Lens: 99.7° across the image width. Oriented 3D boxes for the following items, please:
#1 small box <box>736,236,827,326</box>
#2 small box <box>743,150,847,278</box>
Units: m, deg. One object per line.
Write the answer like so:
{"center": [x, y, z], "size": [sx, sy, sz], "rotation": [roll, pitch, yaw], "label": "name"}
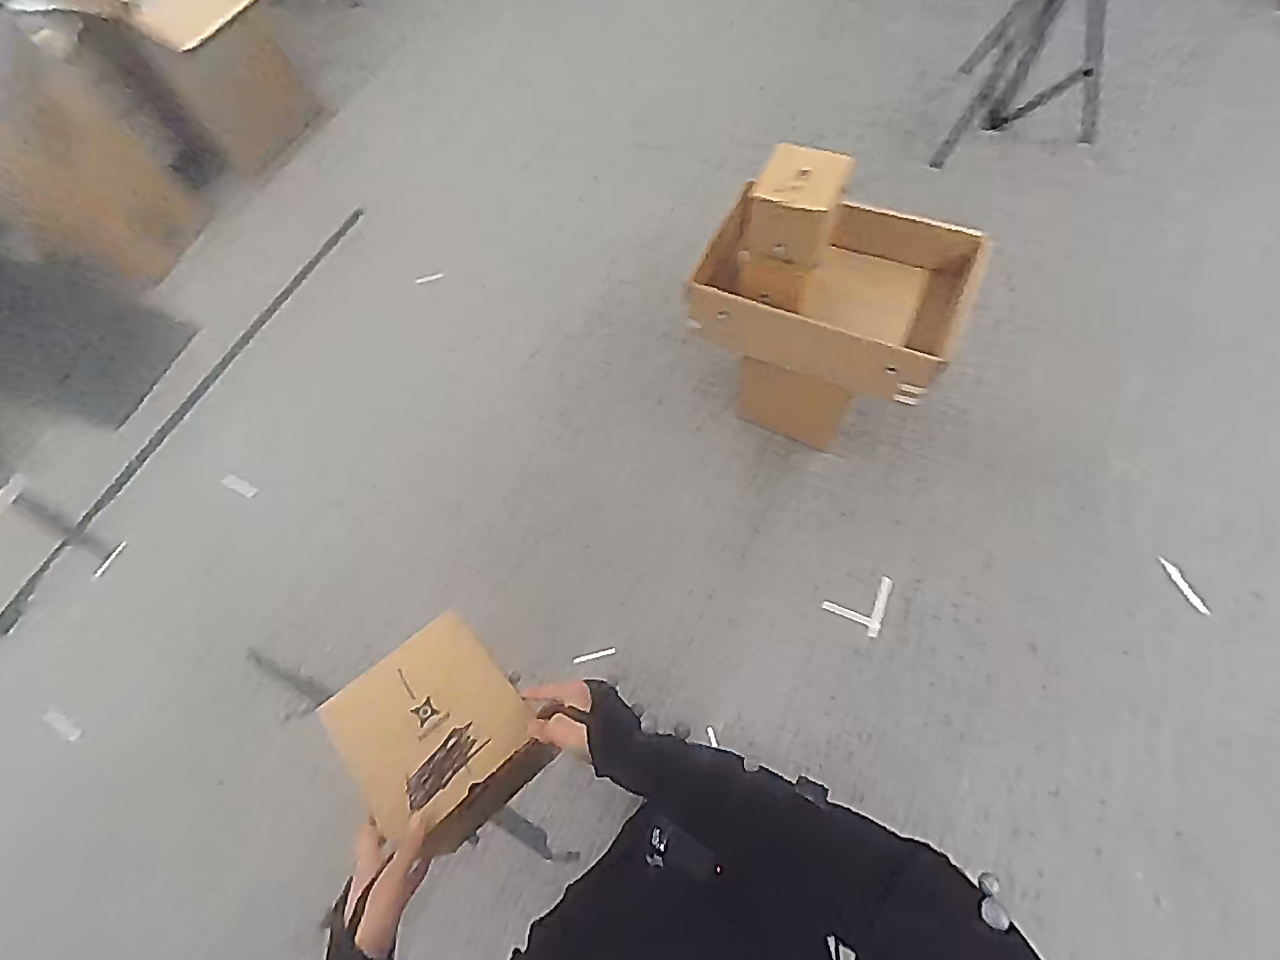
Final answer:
{"center": [0.348, -0.525, 1.362], "size": [0.168, 0.176, 0.179], "rotation": [22, 71, 15], "label": "small box"}
{"center": [0.339, -0.592, 1.212], "size": [0.168, 0.176, 0.179], "rotation": [21, 71, 15], "label": "small box"}
